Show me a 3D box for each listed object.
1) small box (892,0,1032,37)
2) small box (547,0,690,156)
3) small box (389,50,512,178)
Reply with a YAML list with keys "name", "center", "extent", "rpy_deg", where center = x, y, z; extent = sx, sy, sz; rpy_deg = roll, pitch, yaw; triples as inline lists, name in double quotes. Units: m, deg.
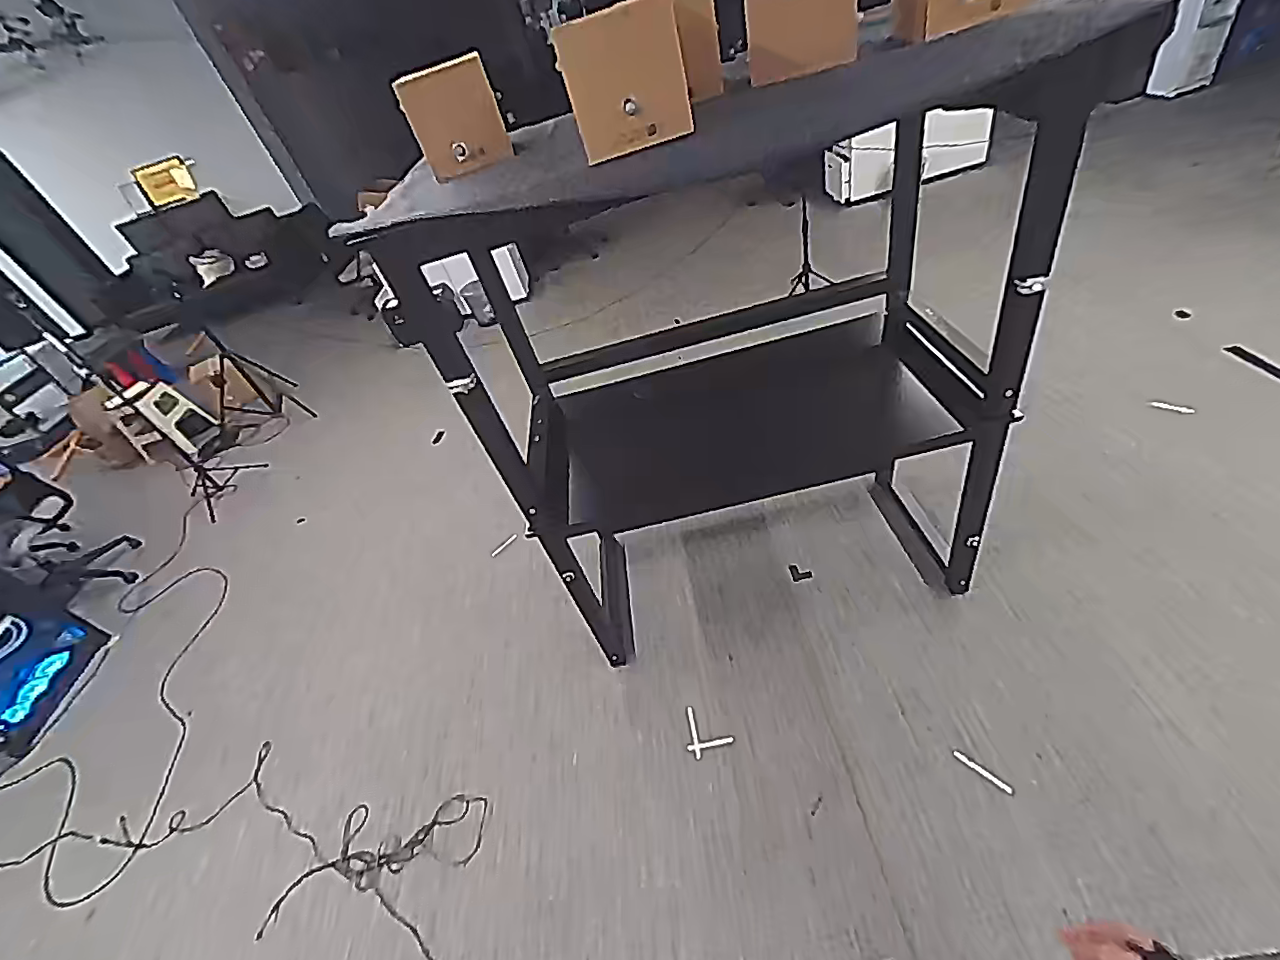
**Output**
- name: "small box"
  center: [0.515, -0.835, 0.862]
  extent: [0.168, 0.176, 0.179]
  rpy_deg: [-11, 42, 10]
- name: "small box"
  center: [-0.026, -0.614, 0.819]
  extent: [0.168, 0.176, 0.179]
  rpy_deg: [-13, 40, 9]
- name: "small box"
  center: [-0.365, -0.721, 1.068]
  extent: [0.168, 0.176, 0.179]
  rpy_deg: [-21, 42, -1]
